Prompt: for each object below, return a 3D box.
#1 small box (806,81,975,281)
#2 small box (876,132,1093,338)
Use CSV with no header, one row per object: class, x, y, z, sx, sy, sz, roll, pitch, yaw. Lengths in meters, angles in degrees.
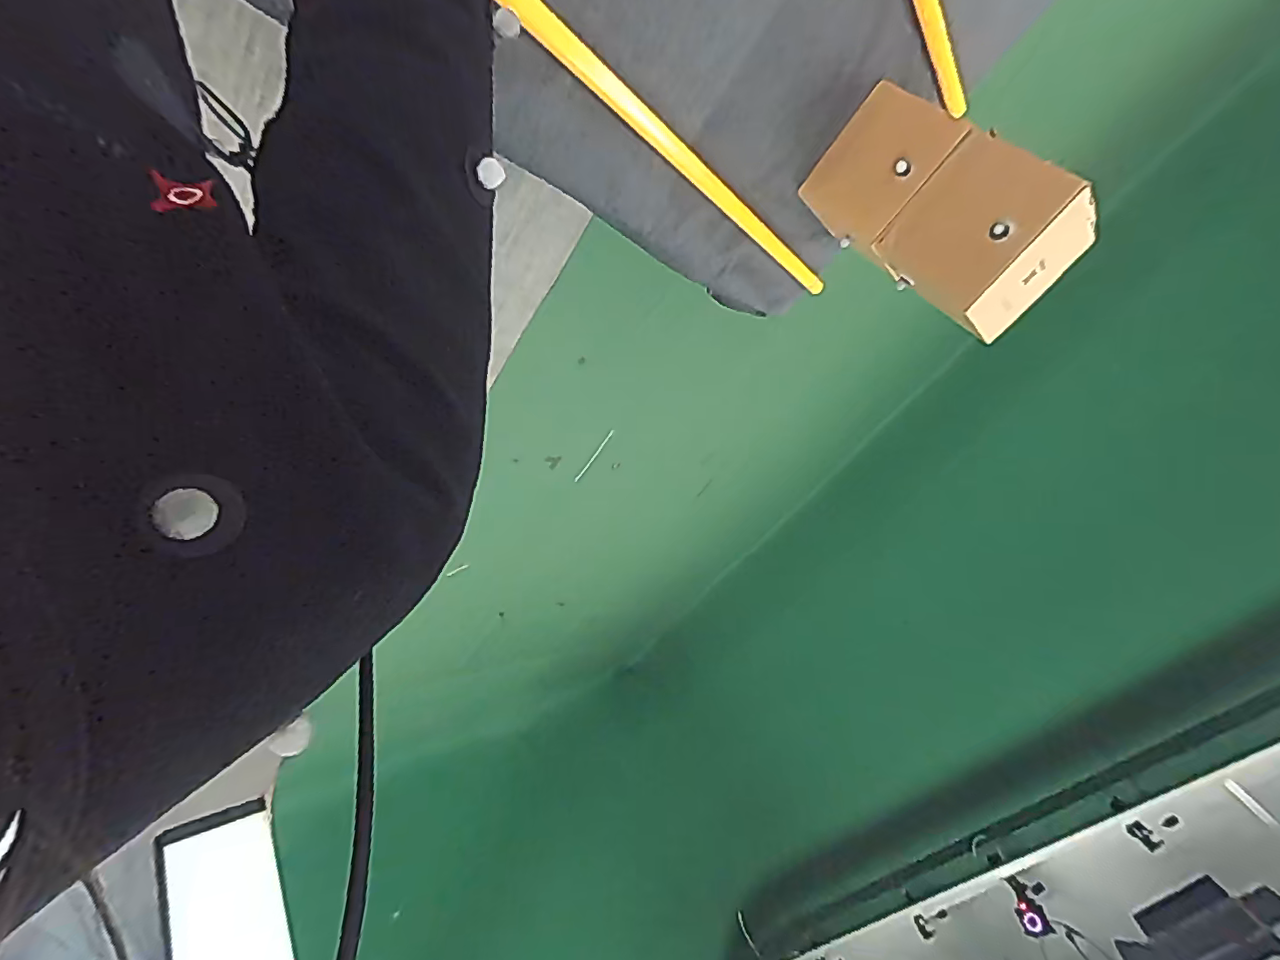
small box,0.379,-0.445,0.818,0.168,0.176,0.179,6,130,-50
small box,0.467,-0.331,0.742,0.168,0.176,0.179,5,132,-48
